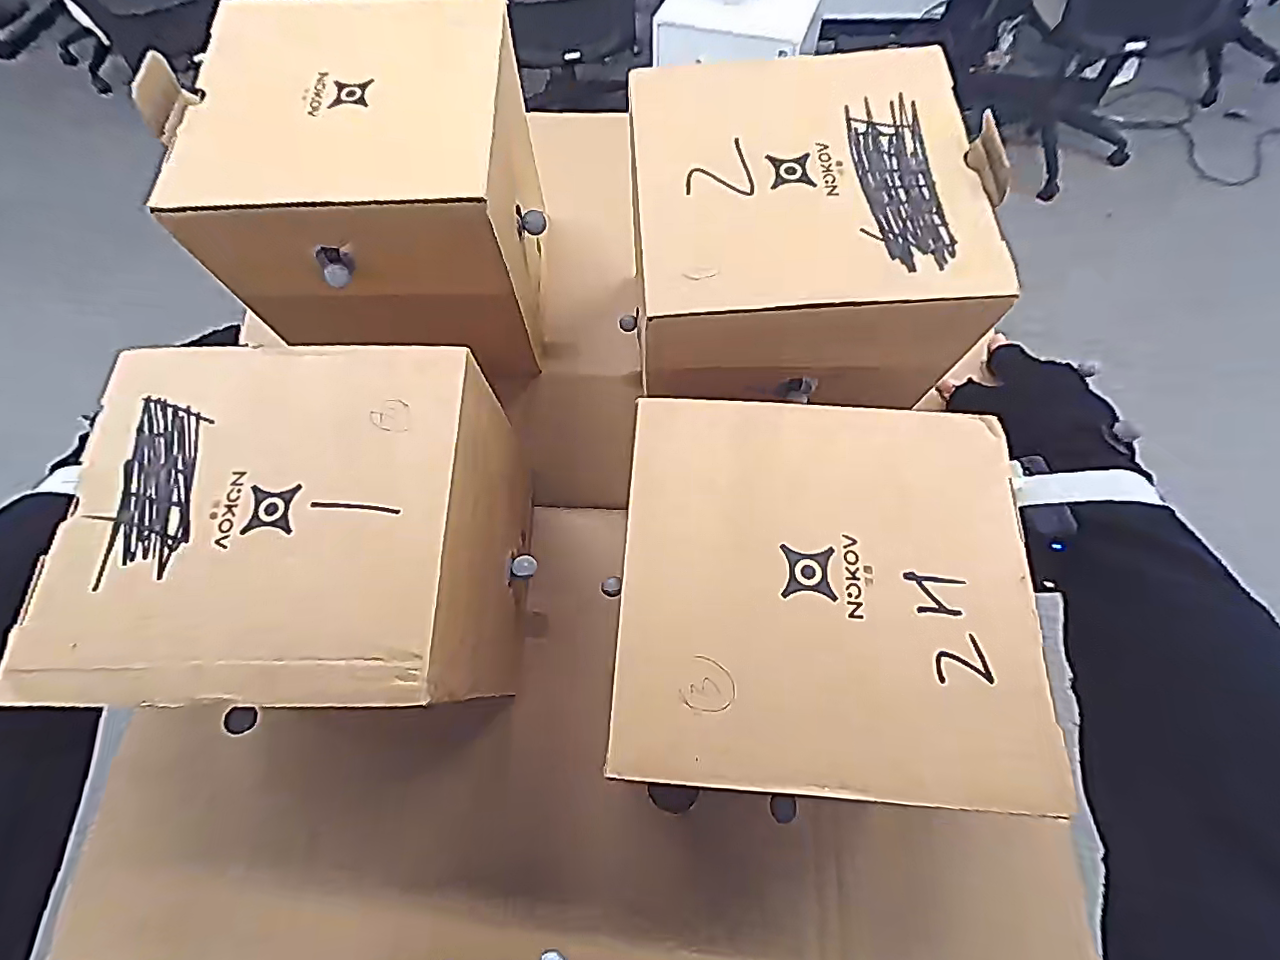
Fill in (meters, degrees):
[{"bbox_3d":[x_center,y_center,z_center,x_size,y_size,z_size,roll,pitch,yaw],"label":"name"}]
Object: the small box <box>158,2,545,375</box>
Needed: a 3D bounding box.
[{"bbox_3d":[-0.168,-0.188,0.384,0.179,0.176,0.168,-3,70,1],"label":"small box"}]
